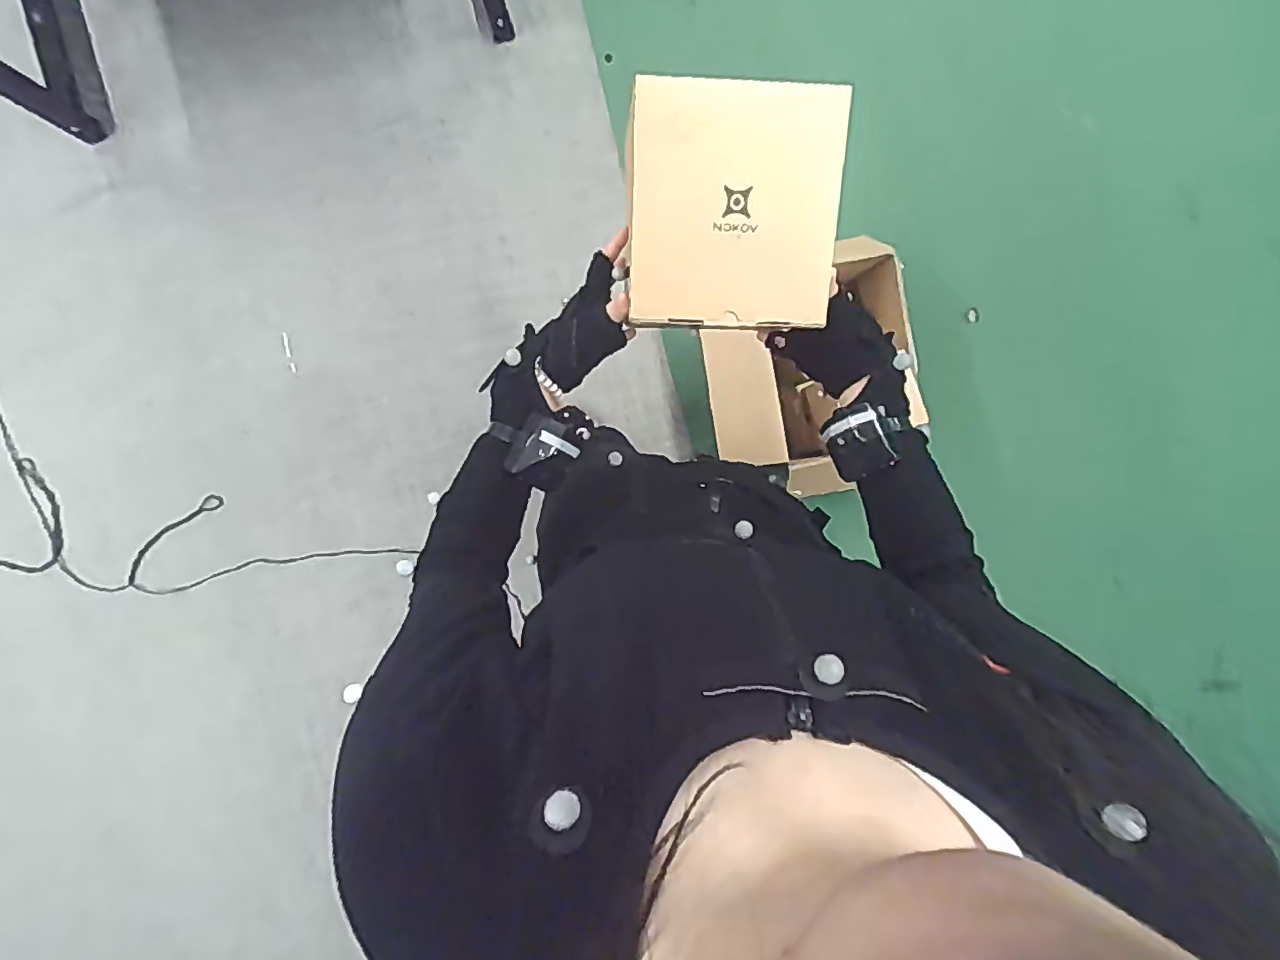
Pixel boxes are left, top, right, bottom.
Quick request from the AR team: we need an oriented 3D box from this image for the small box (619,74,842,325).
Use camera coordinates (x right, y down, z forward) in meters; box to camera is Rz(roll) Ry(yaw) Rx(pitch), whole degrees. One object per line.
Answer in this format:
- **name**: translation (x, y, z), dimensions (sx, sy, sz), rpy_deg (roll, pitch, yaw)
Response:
- **small box**: translation (0.067, -0.240, 0.509), dimensions (0.168, 0.176, 0.179), rpy_deg (1, 107, -4)
